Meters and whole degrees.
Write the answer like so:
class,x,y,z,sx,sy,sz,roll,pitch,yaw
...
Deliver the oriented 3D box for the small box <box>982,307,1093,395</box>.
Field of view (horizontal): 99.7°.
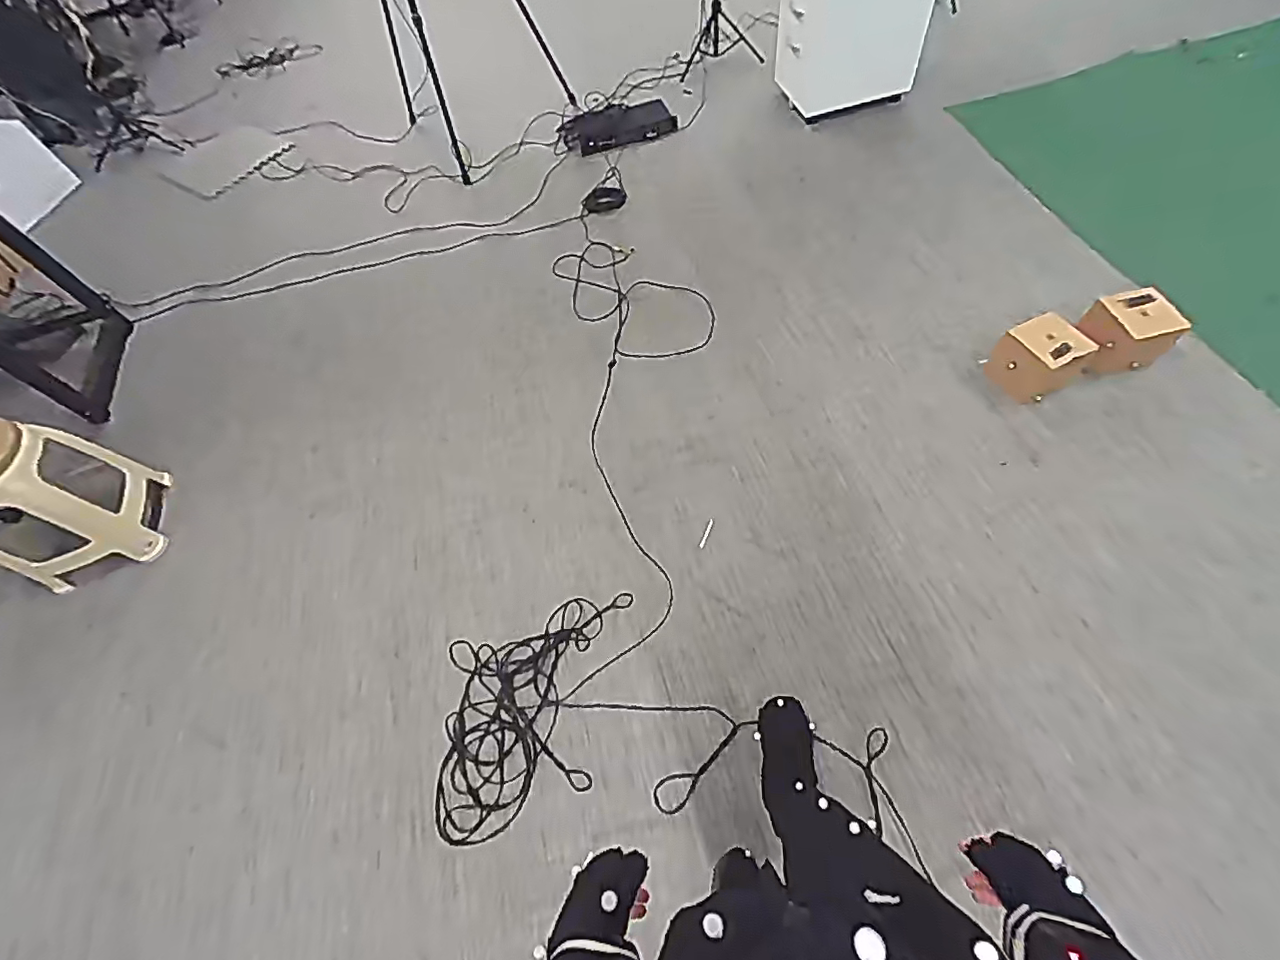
class,x,y,z,sx,sy,sz,roll,pitch,yaw
small box,1.181,-0.377,1.622,0.168,0.176,0.179,-23,59,-7
